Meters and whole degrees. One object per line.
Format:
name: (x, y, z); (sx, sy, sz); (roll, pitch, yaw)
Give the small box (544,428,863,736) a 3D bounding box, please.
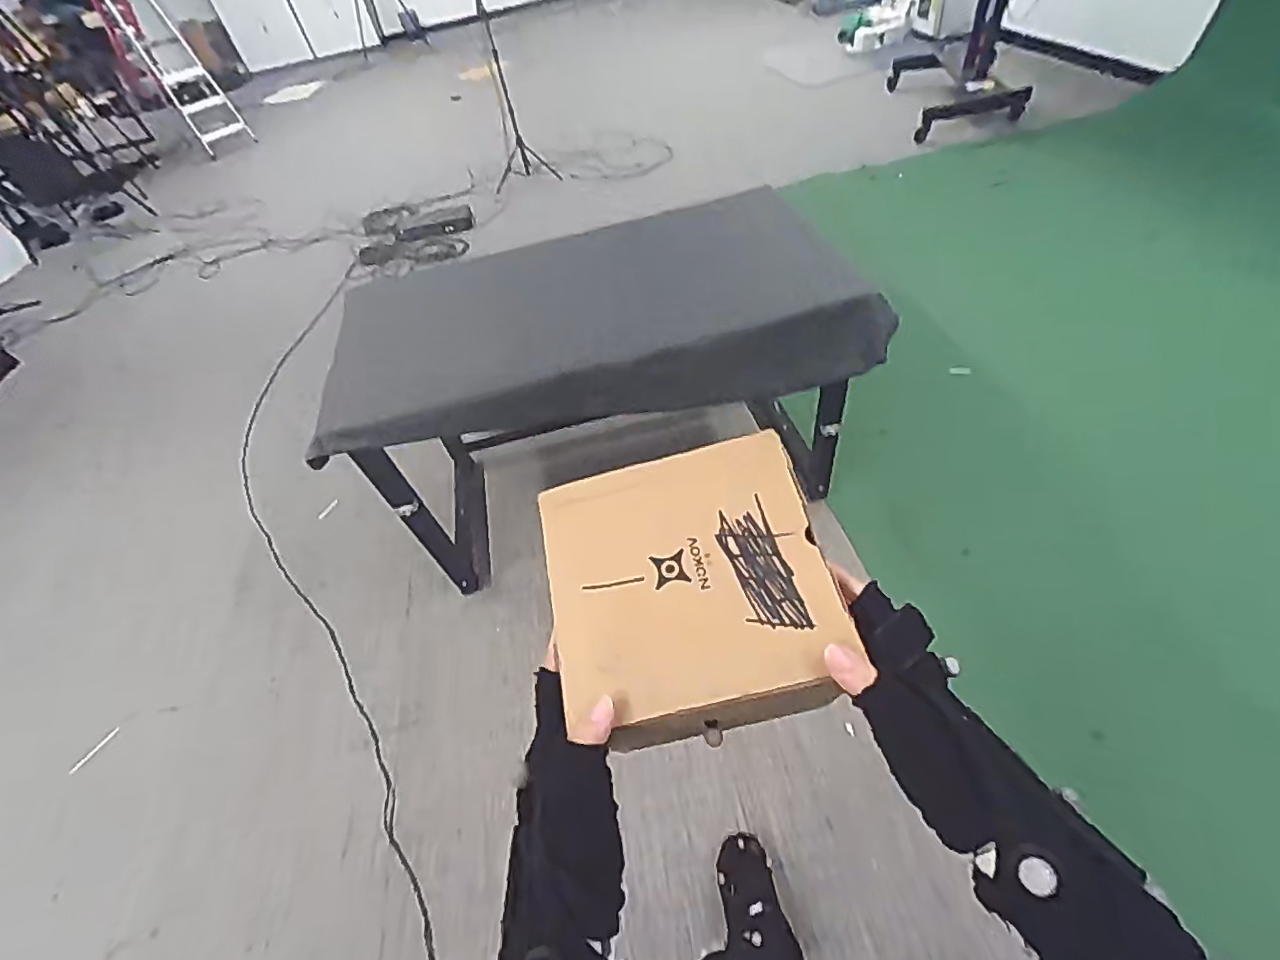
small box: (0.041, 0.088, 0.415); (0.179, 0.176, 0.168); (-14, 60, 3)
